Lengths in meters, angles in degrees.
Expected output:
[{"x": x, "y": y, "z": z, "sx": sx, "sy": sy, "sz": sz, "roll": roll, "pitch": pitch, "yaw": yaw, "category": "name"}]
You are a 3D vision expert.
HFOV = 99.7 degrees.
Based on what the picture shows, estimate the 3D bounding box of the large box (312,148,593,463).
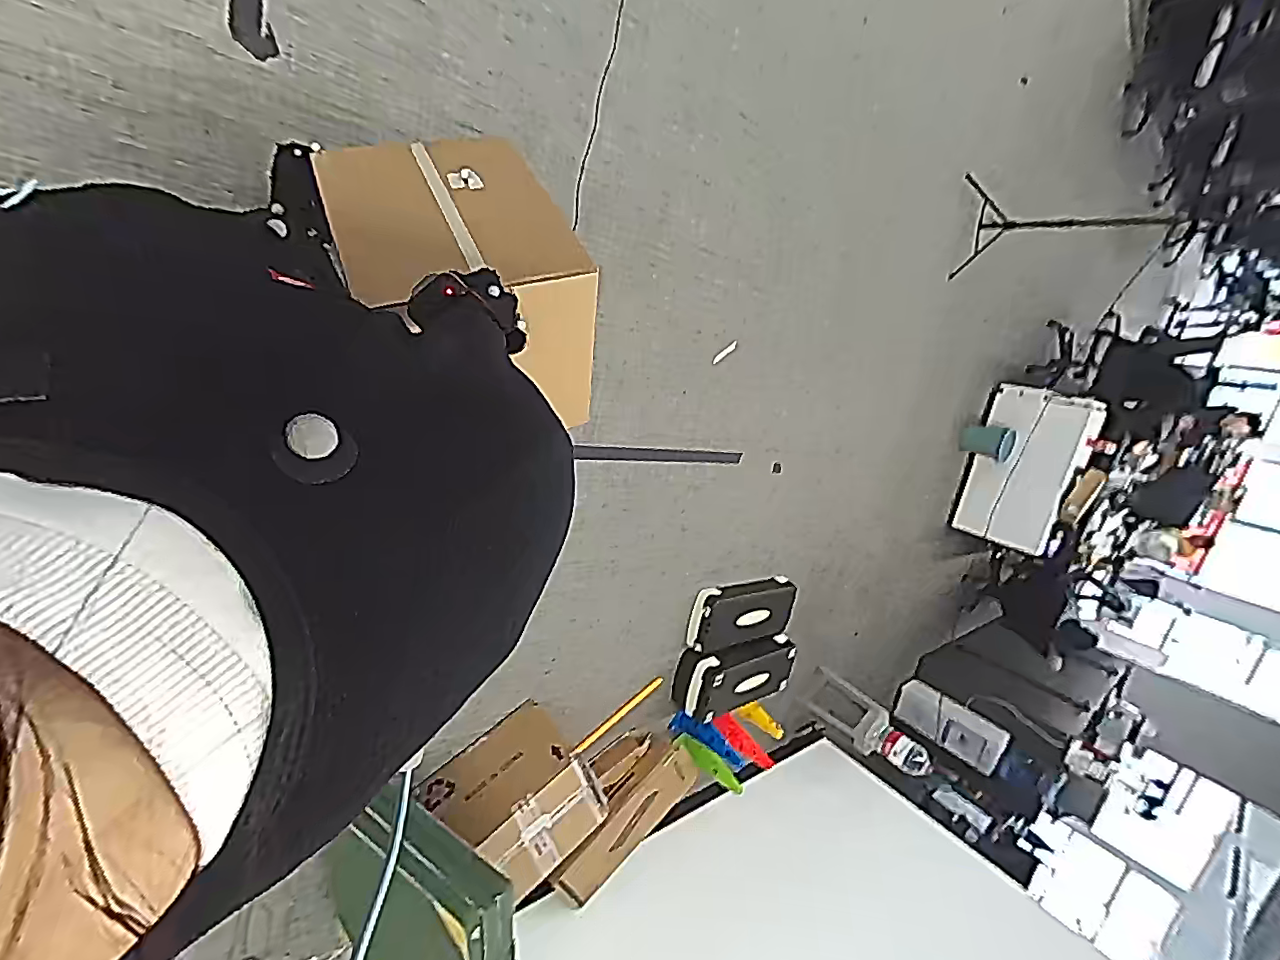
[{"x": -0.305, "y": -0.301, "z": 0.919, "sx": 0.320, "sy": 0.408, "sz": 0.320, "roll": -18, "pitch": 148, "yaw": -22, "category": "large box"}]
